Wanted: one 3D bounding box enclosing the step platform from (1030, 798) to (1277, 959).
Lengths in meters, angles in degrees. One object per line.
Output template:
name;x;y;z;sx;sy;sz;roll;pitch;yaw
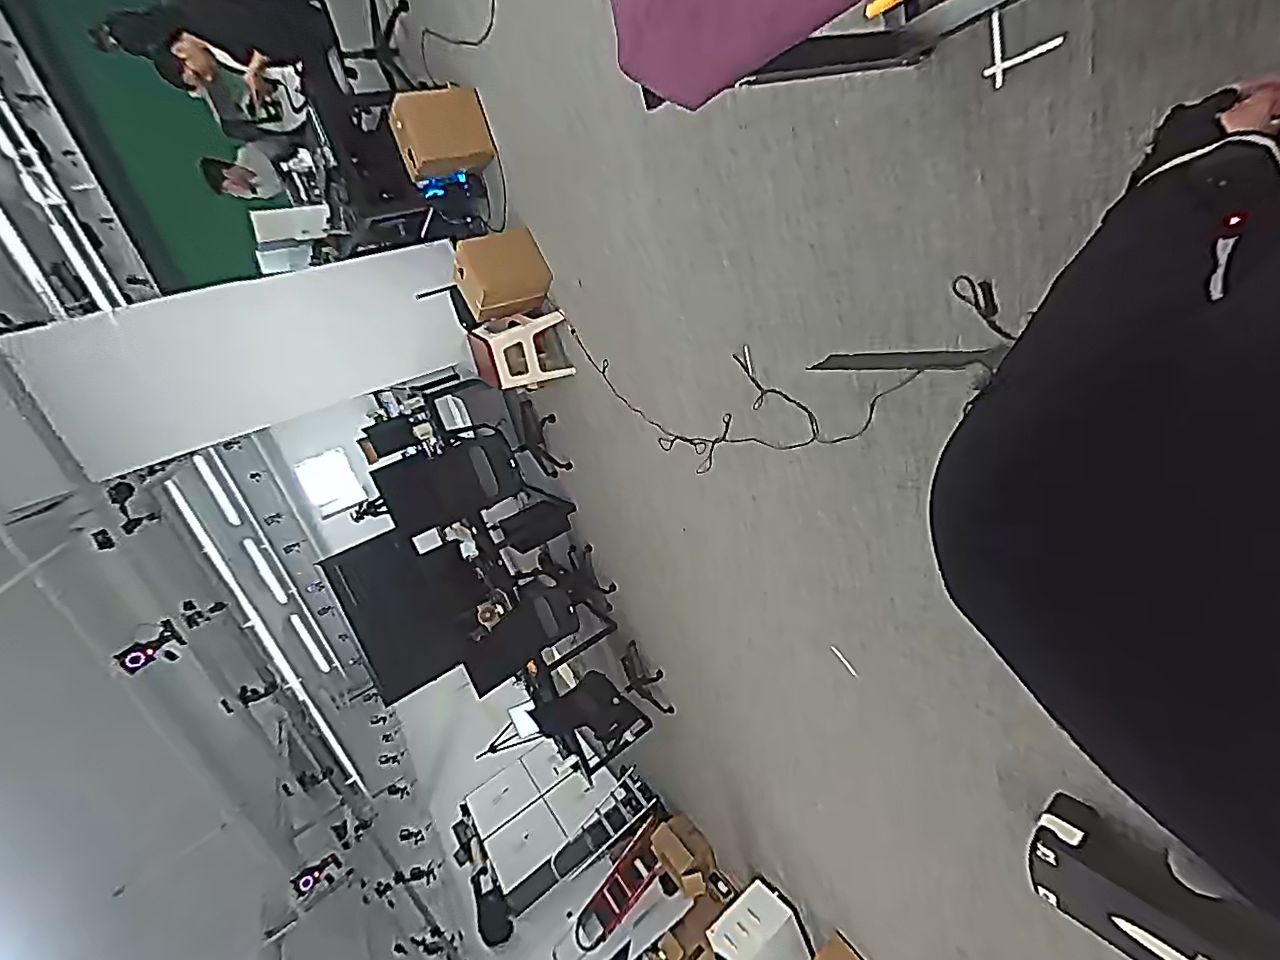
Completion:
step platform;1.456;1.205;1.439;0.684;0.204;0.286;15;128;55
